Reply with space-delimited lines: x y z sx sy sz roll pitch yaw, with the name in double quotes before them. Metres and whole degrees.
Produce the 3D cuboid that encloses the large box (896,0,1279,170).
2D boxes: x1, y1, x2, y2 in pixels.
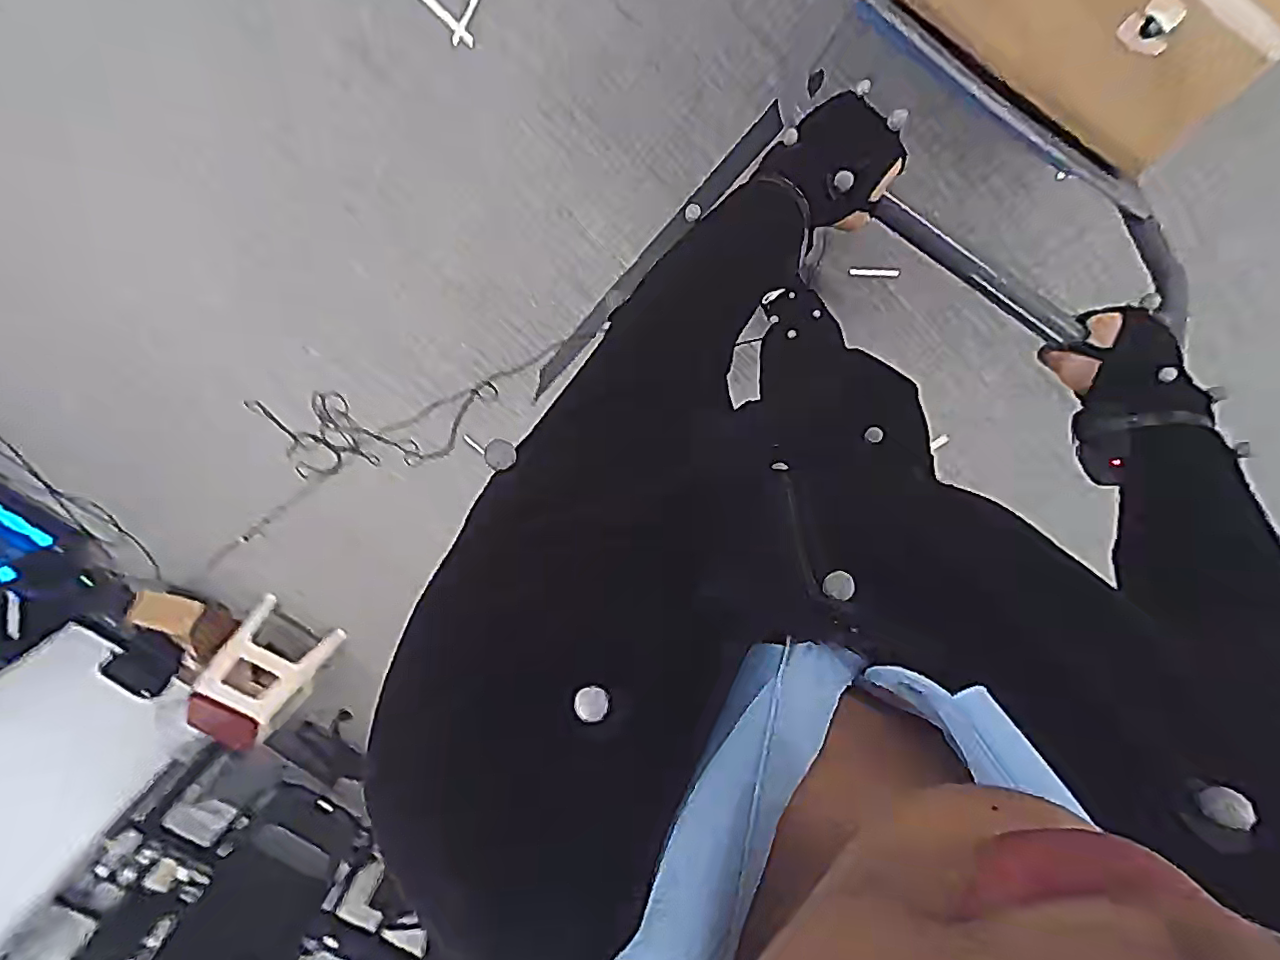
"large box" 0.589 -0.693 0.687 0.408 0.320 0.320 30 139 -8
